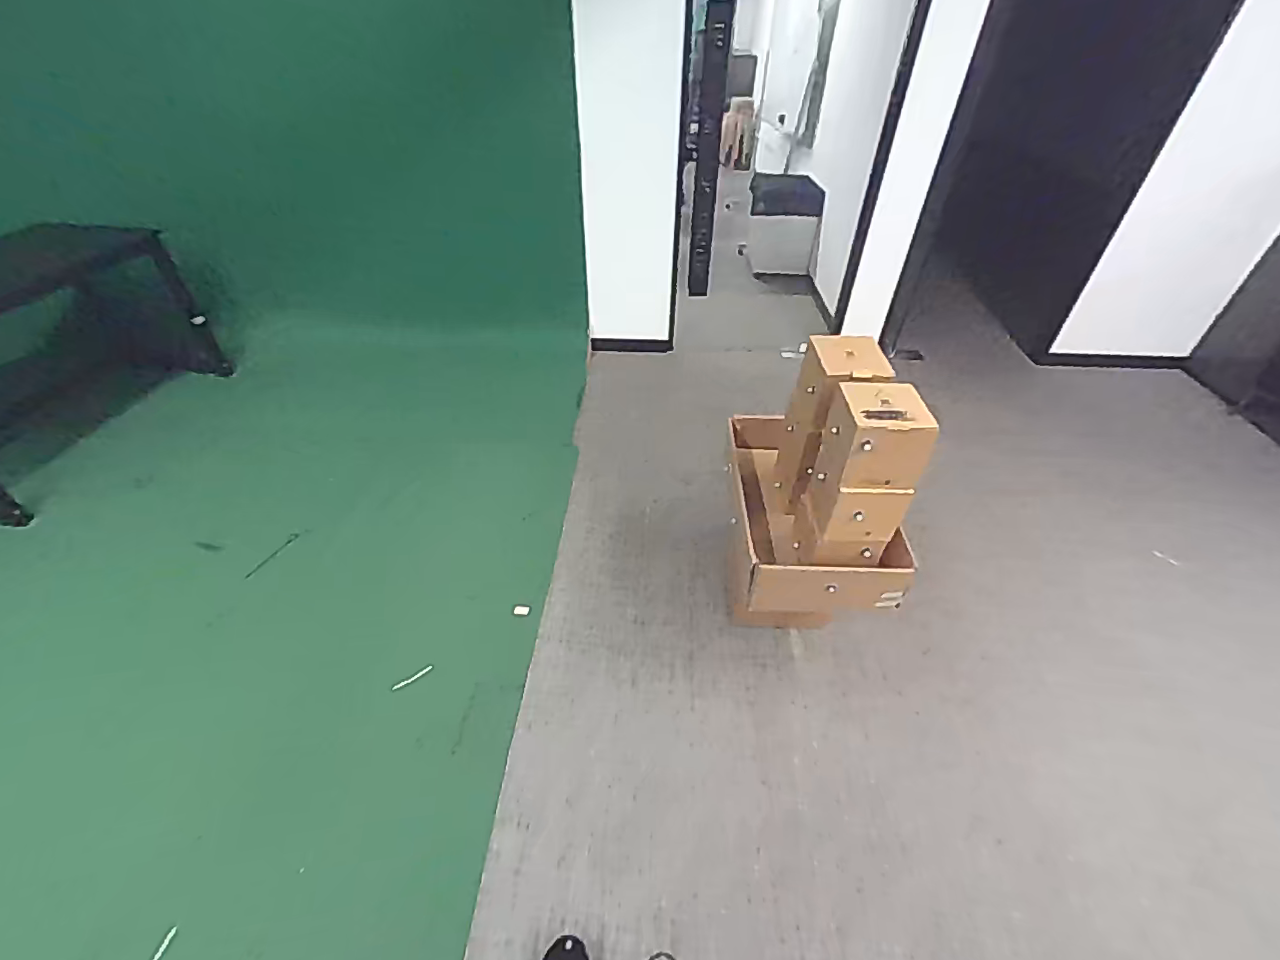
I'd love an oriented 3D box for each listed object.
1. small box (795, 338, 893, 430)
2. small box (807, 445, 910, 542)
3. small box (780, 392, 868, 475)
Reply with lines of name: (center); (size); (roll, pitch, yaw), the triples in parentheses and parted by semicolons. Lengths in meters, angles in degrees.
small box: (0.505, -0.240, 1.364); (0.168, 0.176, 0.179); (1, 45, -2)
small box: (0.516, 0.034, 1.303); (0.168, 0.176, 0.179); (1, 42, -1)
small box: (0.495, -0.125, 1.478); (0.168, 0.176, 0.179); (-2, 44, -3)
